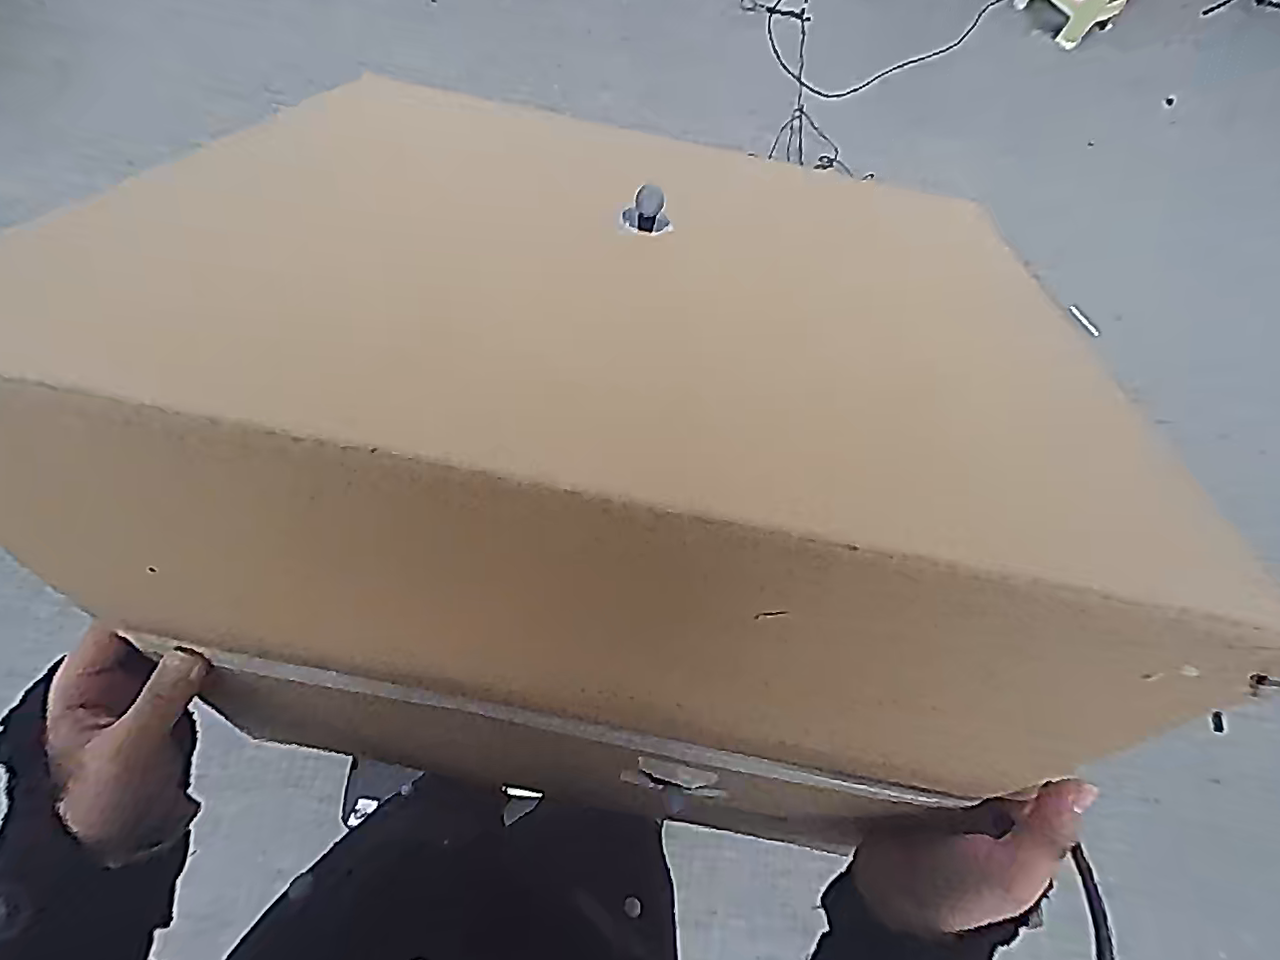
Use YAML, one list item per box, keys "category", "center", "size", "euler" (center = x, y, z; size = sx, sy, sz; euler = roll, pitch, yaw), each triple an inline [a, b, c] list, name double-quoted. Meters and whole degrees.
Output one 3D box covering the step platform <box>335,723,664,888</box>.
- category: "step platform"
  center: [-0.288, 0.645, 1.202]
  size: [0.684, 0.204, 0.286]
  euler: [15, 71, 0]
